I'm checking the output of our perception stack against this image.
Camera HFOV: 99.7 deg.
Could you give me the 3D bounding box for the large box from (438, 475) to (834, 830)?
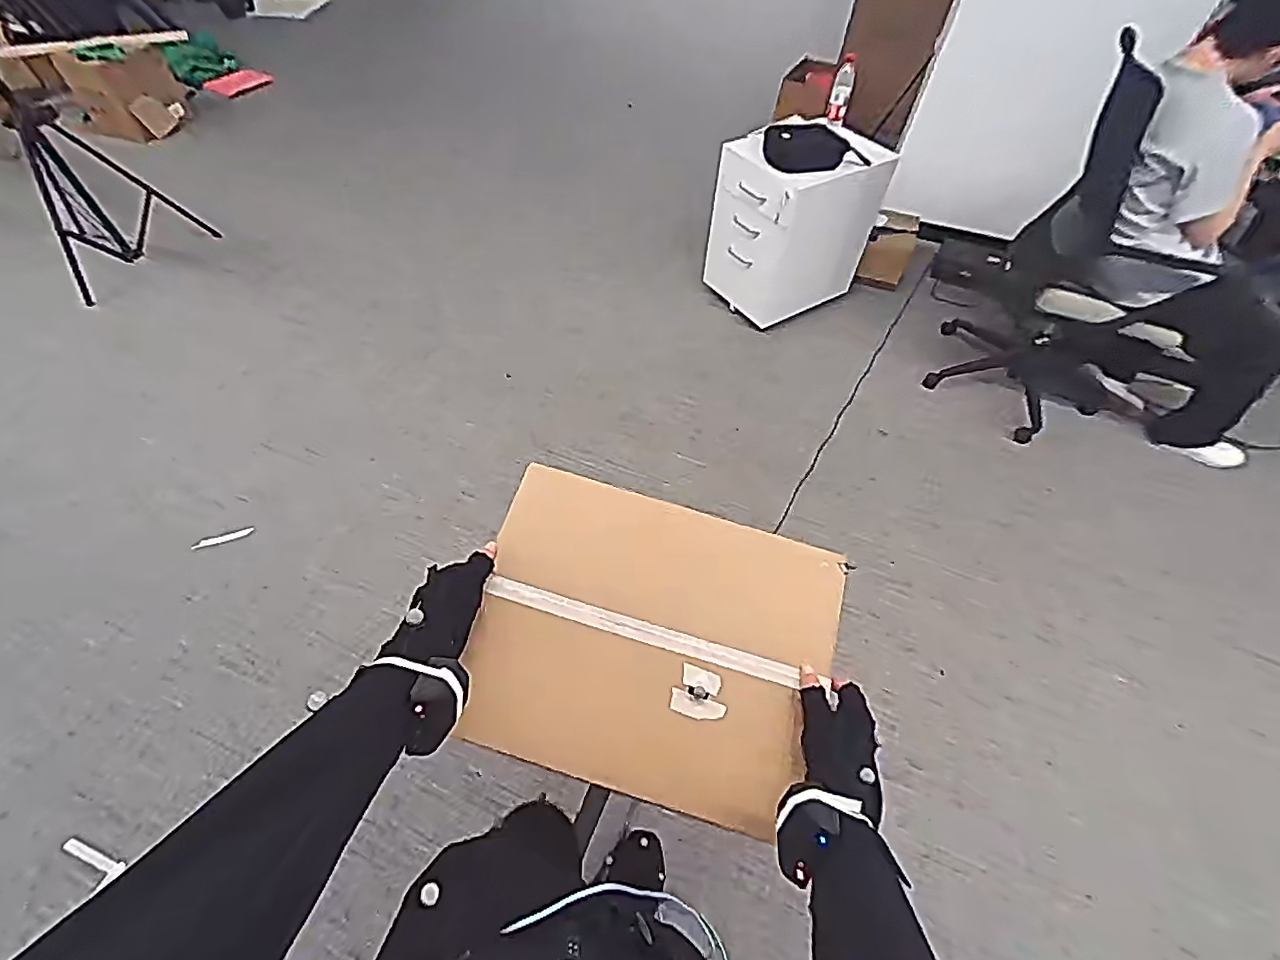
[{"bbox_3d":[0.001,0.235,0.758,0.408,0.320,0.320,16,67,2],"label":"large box"}]
